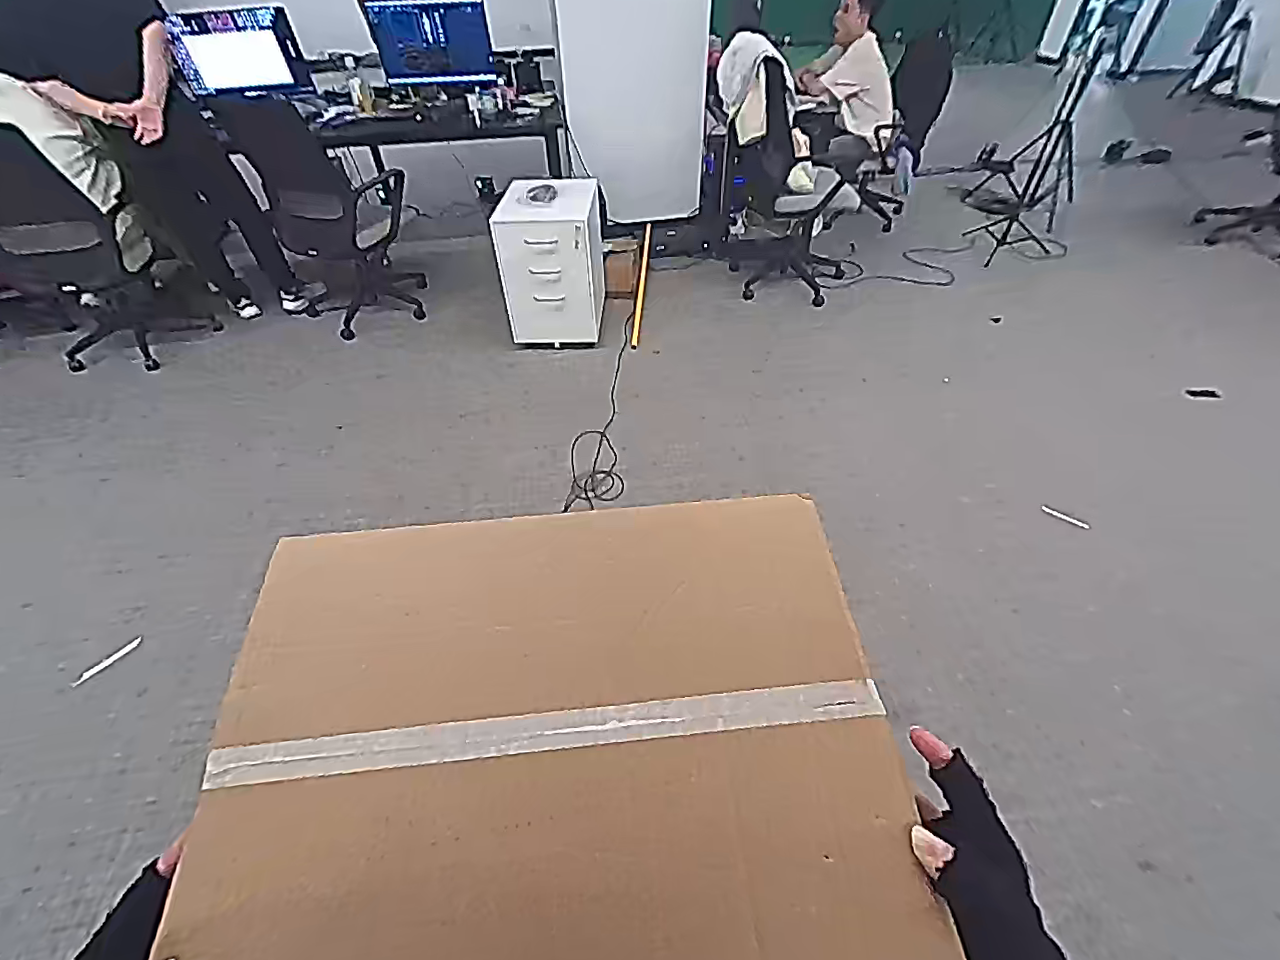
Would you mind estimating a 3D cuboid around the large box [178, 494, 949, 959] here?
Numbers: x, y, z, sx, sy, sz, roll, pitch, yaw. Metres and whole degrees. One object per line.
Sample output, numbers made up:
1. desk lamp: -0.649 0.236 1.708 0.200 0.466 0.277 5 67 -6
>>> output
1. large box: -0.052 0.240 0.467 0.408 0.320 0.320 -5 56 -3
